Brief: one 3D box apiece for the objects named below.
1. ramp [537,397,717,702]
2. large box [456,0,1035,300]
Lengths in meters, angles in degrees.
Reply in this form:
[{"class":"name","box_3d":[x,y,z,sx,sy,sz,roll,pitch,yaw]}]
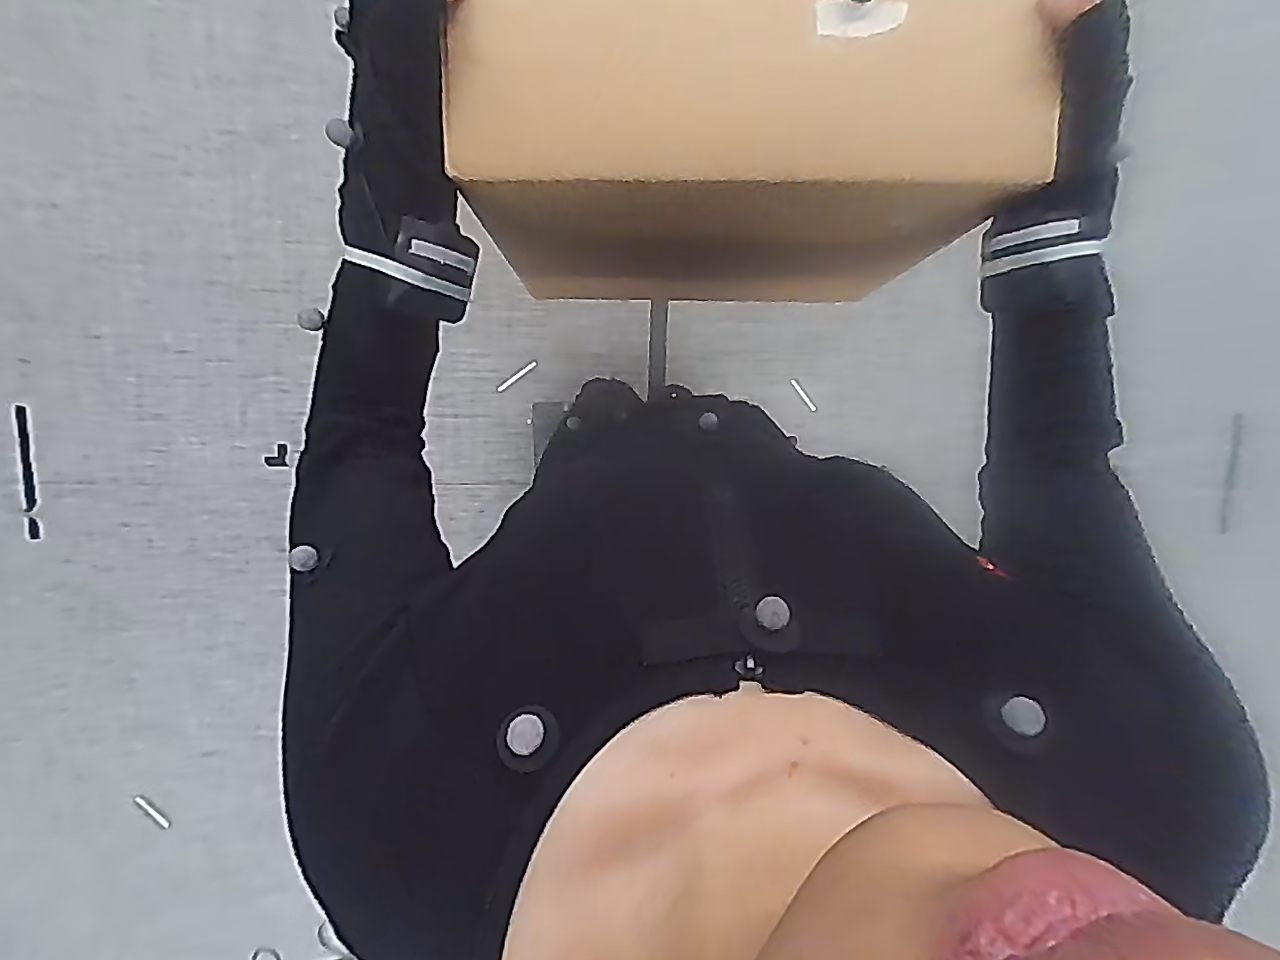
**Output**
[{"class":"ramp","box_3d":[-0.036,0.248,1.611,0.509,0.206,0.991,-2,99,-2]},{"class":"large box","box_3d":[0.068,-0.370,0.515,0.408,0.320,0.320,0,94,-1]}]
